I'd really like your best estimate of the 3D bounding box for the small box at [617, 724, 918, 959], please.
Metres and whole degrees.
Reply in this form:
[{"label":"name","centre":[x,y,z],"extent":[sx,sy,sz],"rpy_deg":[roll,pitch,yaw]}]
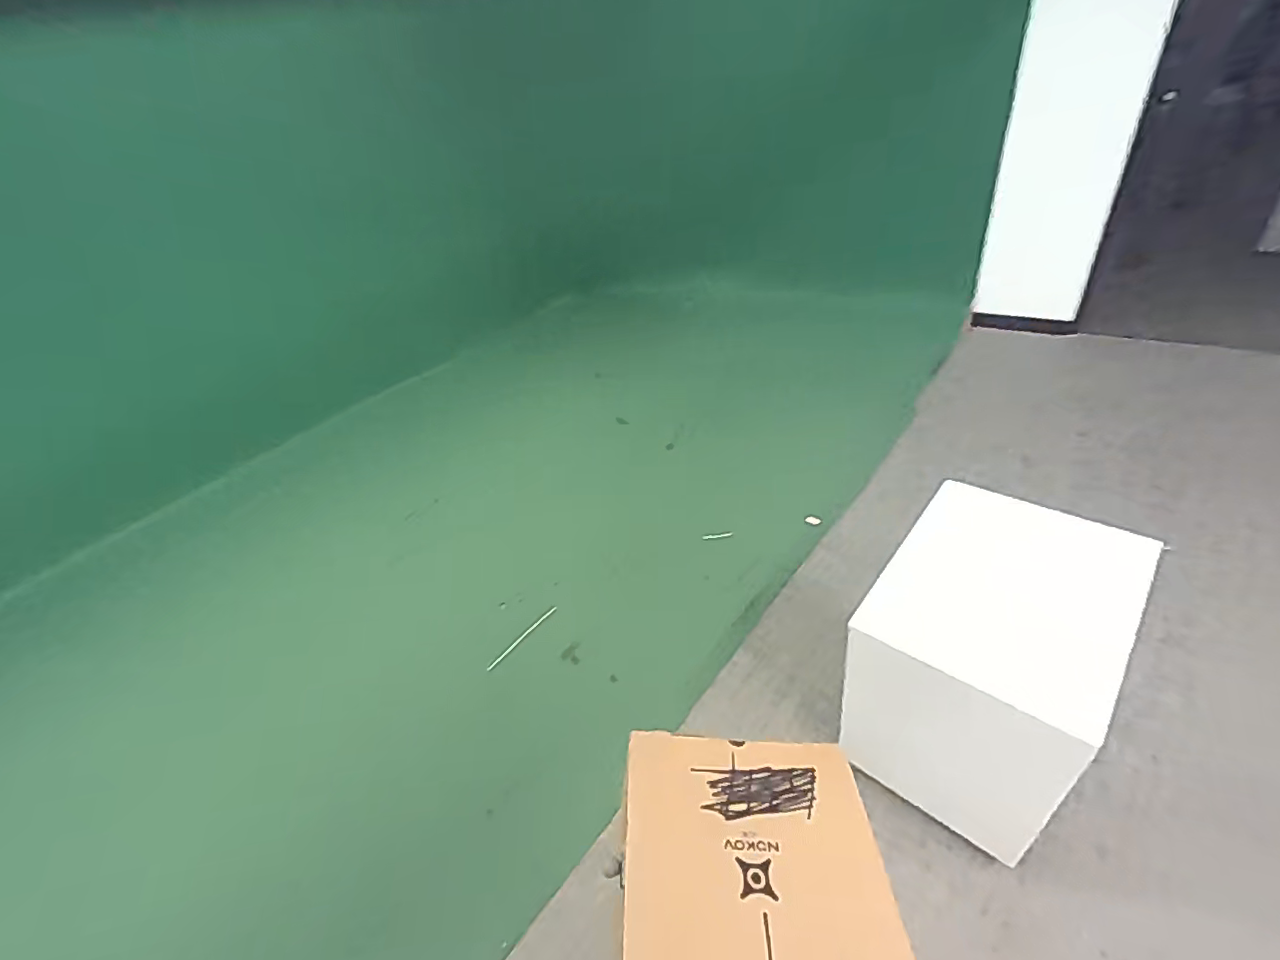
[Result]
[{"label":"small box","centre":[0.070,0.308,0.384],"extent":[0.168,0.176,0.179],"rpy_deg":[4,31,0]}]
